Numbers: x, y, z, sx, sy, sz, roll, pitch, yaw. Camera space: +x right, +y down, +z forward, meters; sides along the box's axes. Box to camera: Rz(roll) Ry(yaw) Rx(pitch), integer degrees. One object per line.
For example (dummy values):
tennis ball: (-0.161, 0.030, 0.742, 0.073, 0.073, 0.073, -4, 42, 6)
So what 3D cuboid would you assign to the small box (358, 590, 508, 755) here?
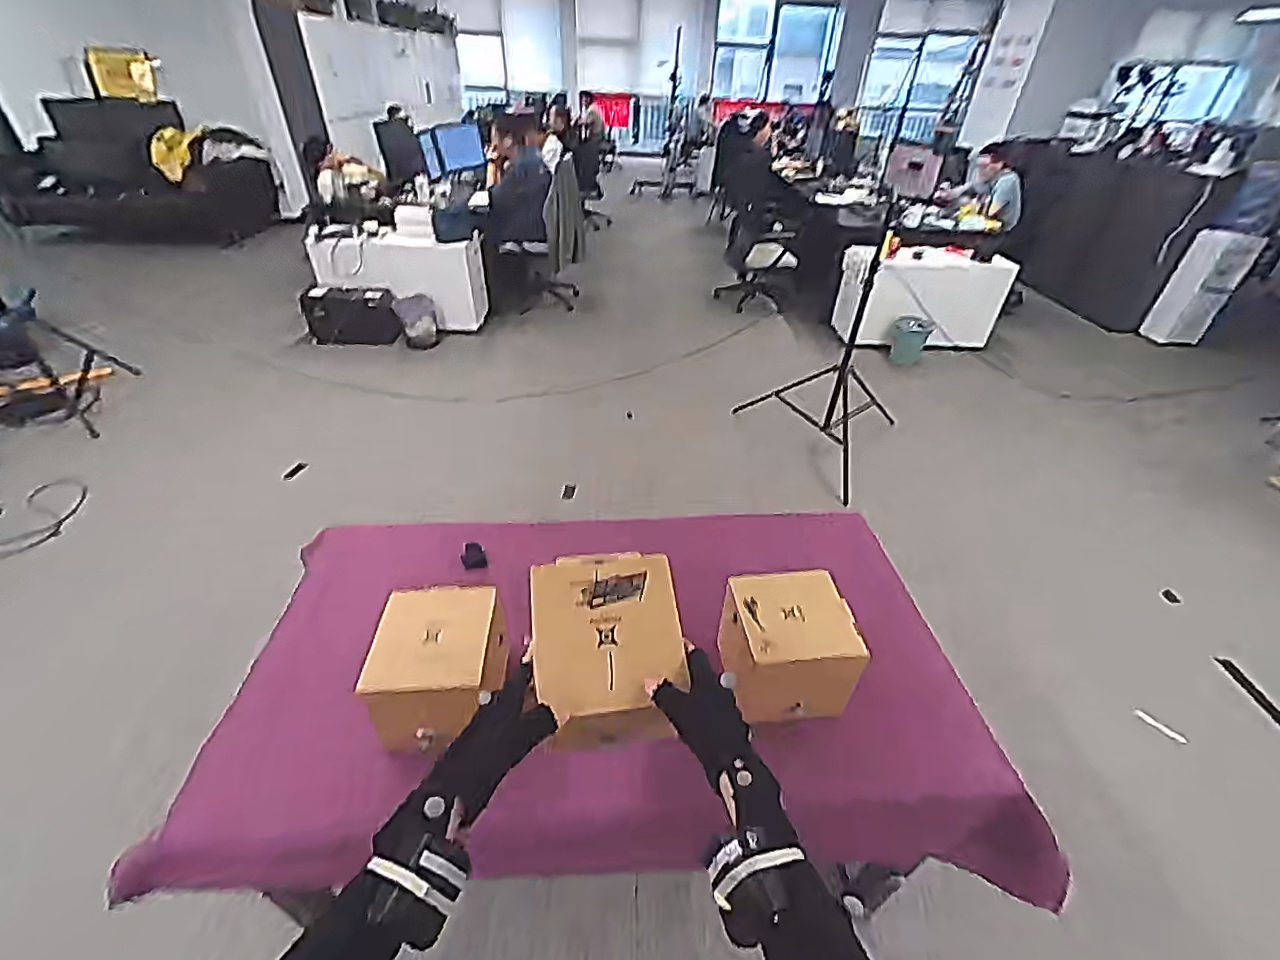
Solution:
small box: (-0.301, 0.293, 0.833, 0.168, 0.176, 0.179, -2, 38, -4)

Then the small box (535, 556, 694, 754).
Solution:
small box: (-0.039, 0.216, 0.666, 0.168, 0.176, 0.179, -5, 53, -7)

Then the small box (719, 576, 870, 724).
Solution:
small box: (0.239, 0.277, 0.885, 0.179, 0.176, 0.168, -2, 37, -6)
